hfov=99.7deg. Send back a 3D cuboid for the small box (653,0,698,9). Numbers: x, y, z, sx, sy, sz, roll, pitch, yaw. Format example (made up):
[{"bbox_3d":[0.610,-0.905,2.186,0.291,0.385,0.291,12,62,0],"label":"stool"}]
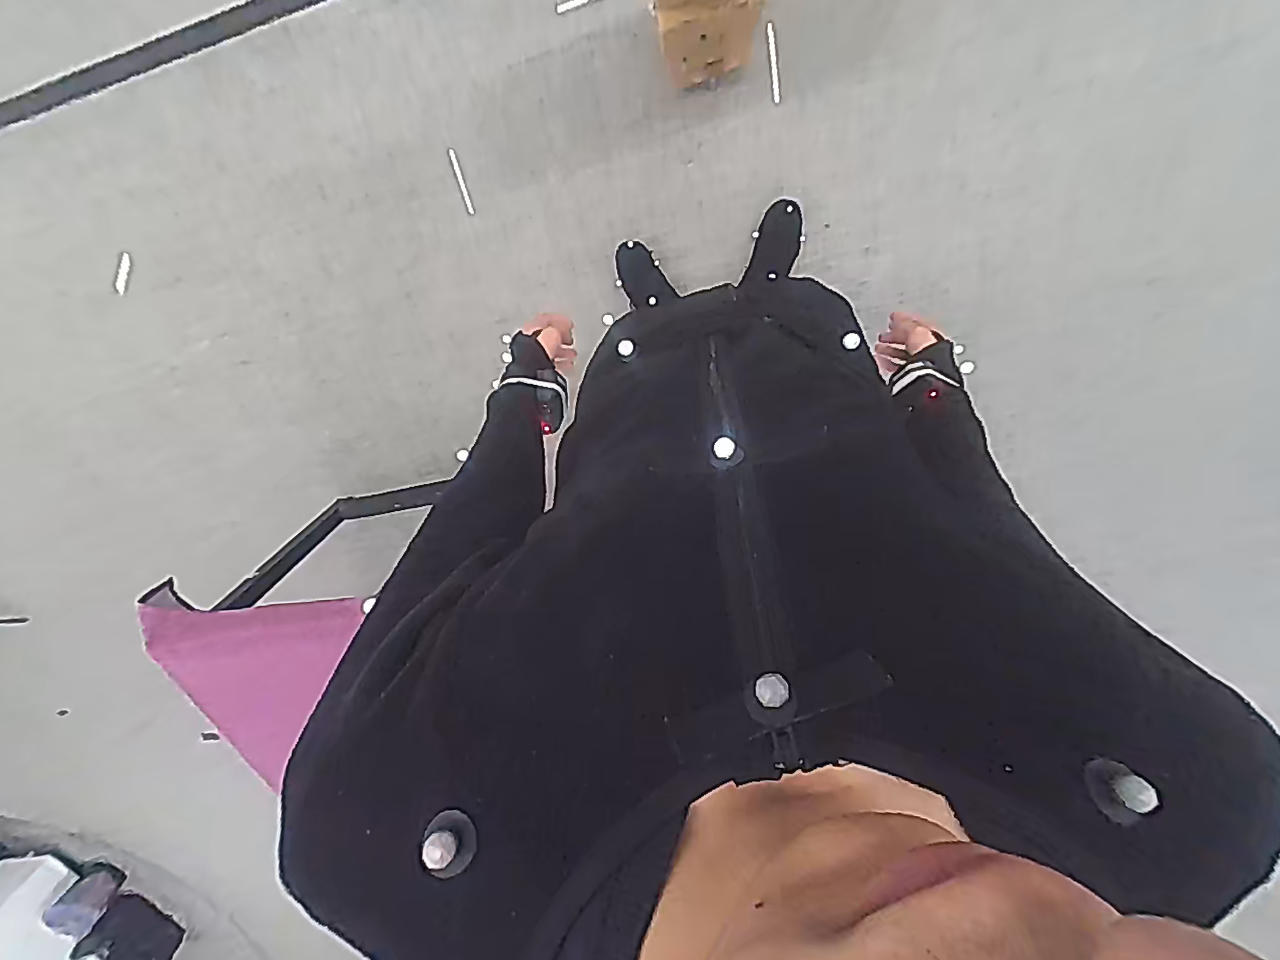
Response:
[{"bbox_3d":[0.085,-0.753,0.697,0.179,0.176,0.168,-8,117,10],"label":"small box"}]

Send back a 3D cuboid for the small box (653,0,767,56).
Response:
[{"bbox_3d":[0.097,-0.812,0.851,0.168,0.176,0.179,-10,117,10],"label":"small box"}]

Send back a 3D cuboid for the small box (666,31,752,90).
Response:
[{"bbox_3d":[0.131,-0.962,1.141,0.168,0.176,0.179,-13,117,12],"label":"small box"}]
